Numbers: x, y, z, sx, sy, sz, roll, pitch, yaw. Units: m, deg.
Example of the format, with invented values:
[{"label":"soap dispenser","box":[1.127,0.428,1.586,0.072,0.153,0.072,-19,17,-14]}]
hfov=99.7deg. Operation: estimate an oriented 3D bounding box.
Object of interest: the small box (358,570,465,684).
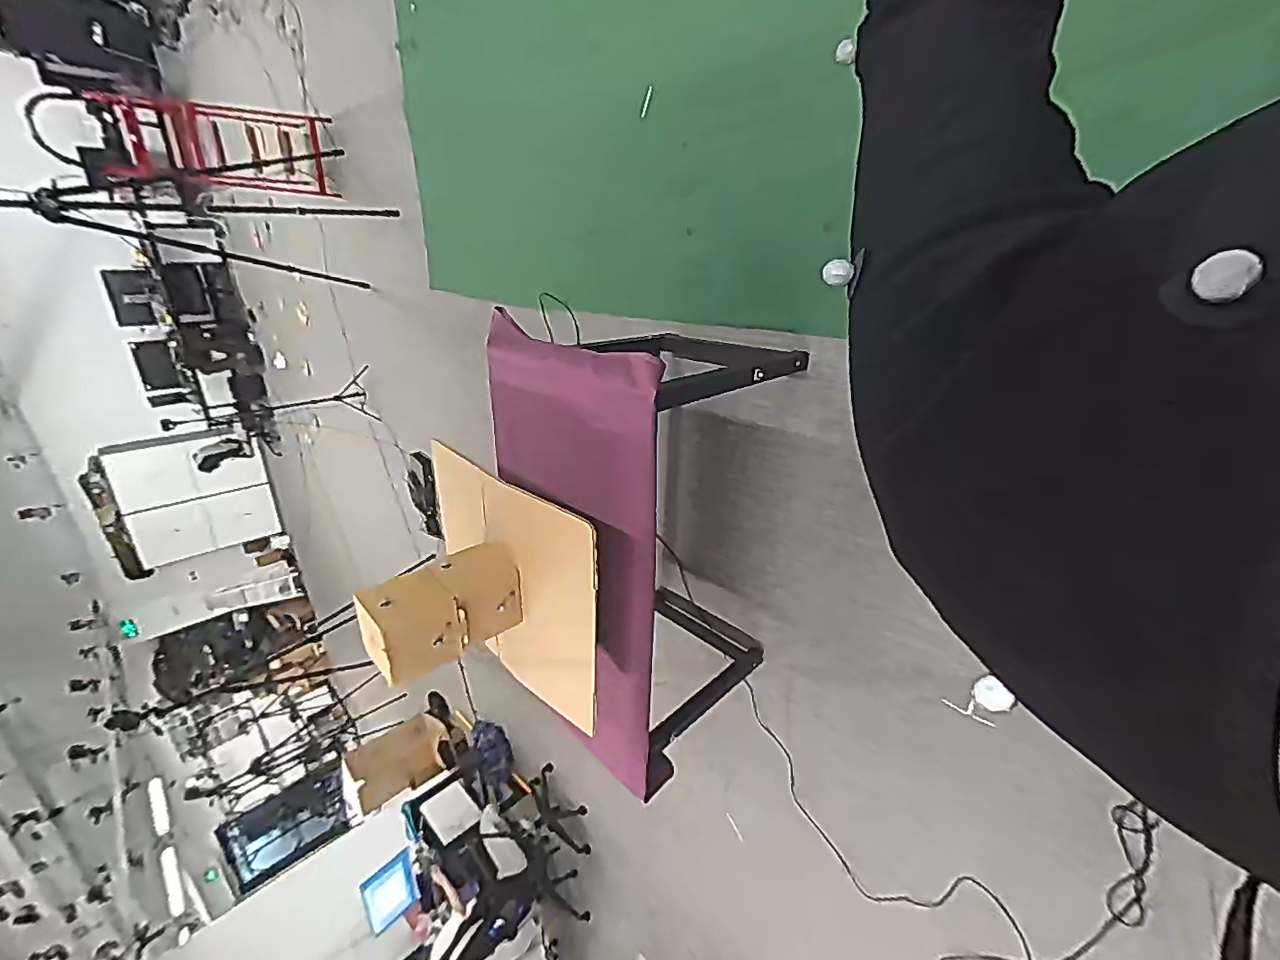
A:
[{"label":"small box","box":[-0.526,0.328,1.256,0.179,0.176,0.168,23,121,41]}]

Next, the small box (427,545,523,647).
[{"label":"small box","box":[-0.413,0.283,1.364,0.179,0.176,0.168,26,124,40]}]
